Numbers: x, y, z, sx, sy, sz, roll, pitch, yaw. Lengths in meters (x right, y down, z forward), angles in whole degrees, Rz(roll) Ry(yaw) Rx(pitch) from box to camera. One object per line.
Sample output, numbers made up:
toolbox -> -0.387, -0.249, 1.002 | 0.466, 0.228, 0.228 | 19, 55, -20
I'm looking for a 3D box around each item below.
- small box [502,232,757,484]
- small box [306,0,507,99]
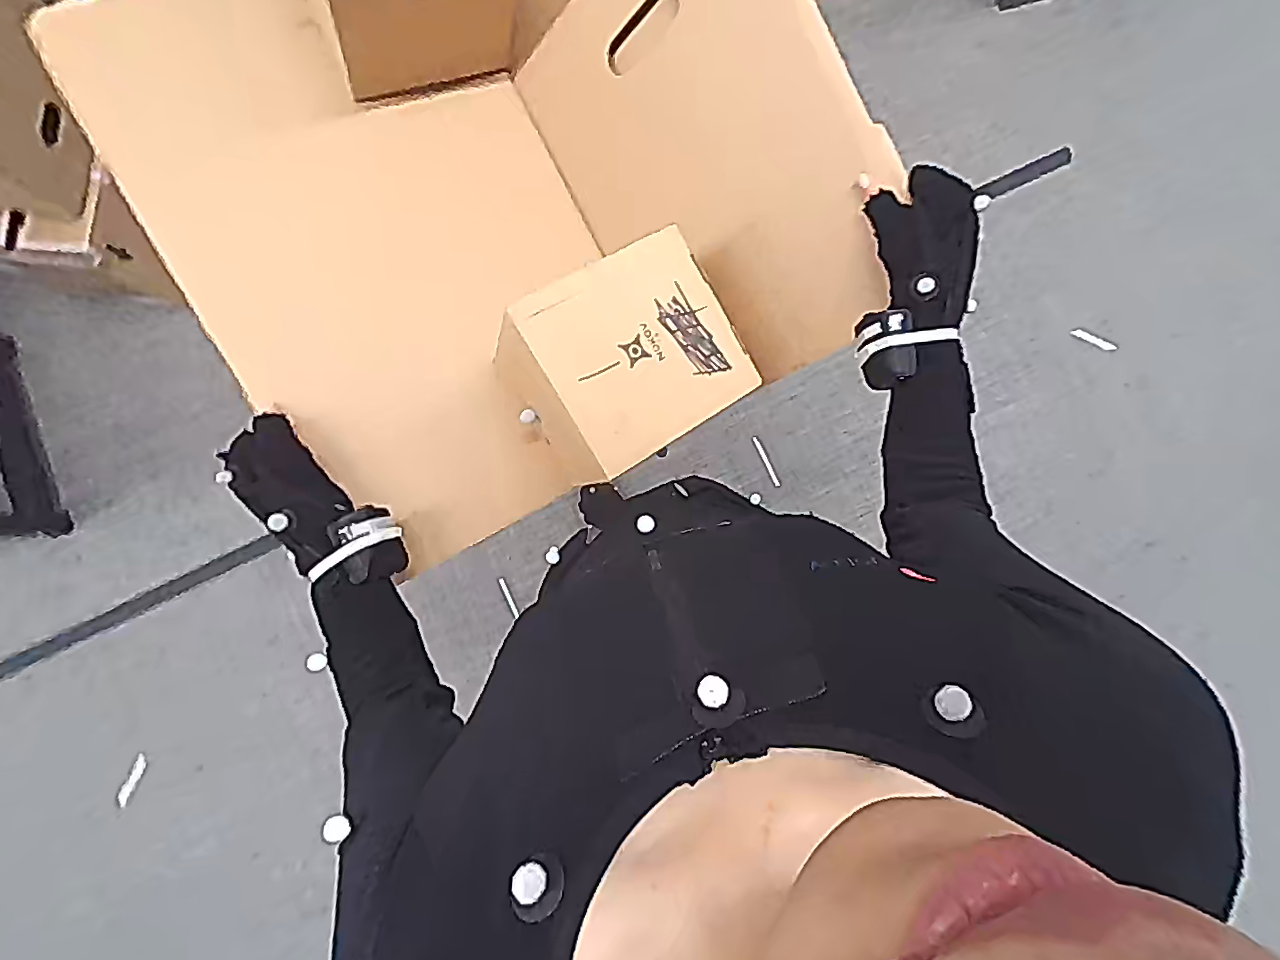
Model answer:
small box -> -0.023, -0.108, 0.547 | 0.179, 0.176, 0.168 | -33, 97, -16
small box -> -0.233, -0.500, 0.504 | 0.179, 0.176, 0.168 | -27, 95, -18
